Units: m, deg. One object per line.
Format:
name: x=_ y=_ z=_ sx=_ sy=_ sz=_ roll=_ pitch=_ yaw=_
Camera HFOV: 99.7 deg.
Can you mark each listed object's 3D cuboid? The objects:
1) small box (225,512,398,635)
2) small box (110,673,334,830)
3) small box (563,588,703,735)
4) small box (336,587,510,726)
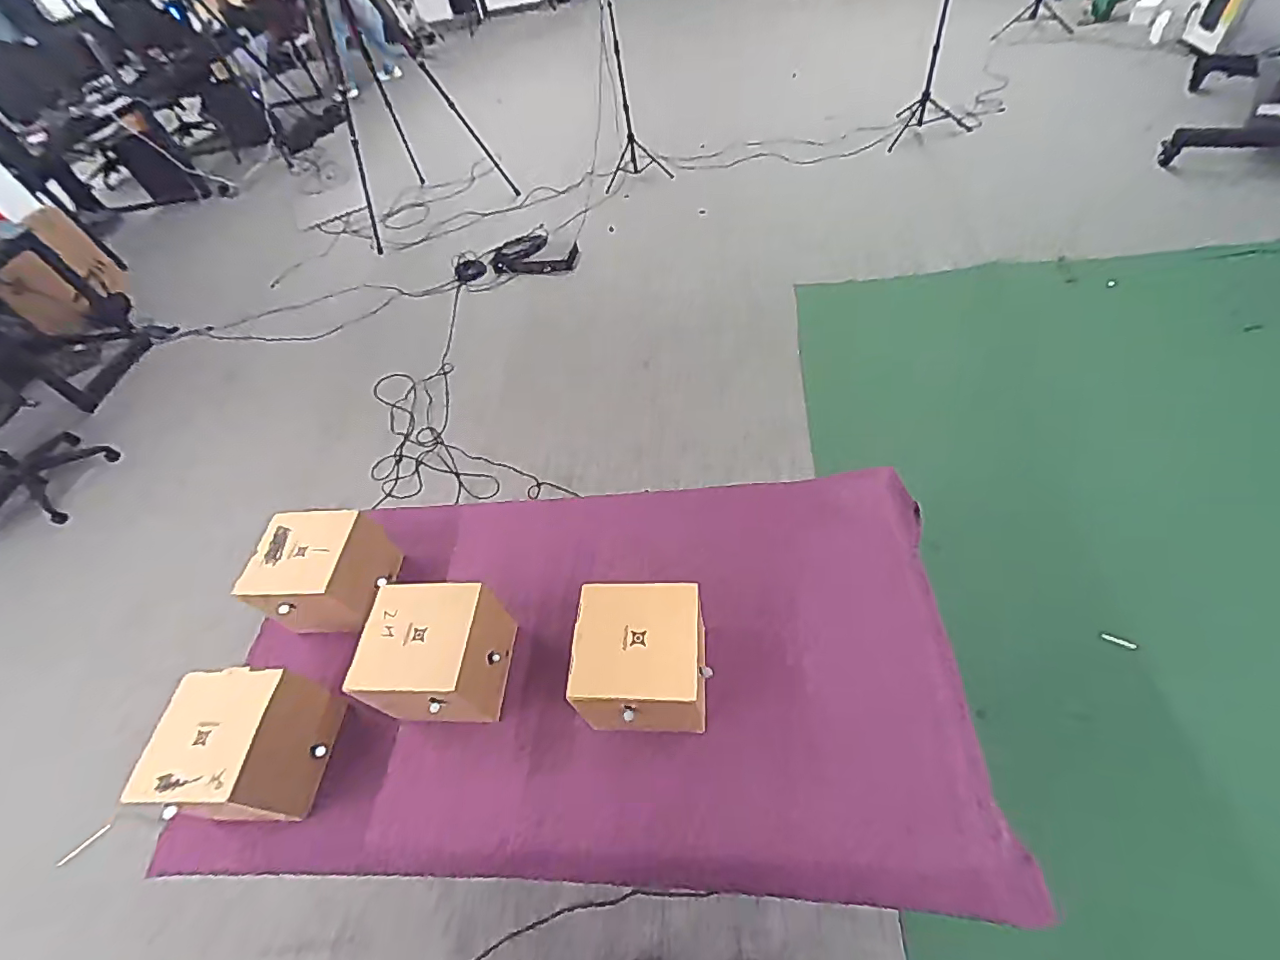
small box: x=-0.582 y=0.174 z=0.984 sx=0.179 sy=0.176 sz=0.168 roll=-2 pitch=53 yaw=8
small box: x=-0.598 y=0.405 z=0.807 sx=0.168 sy=0.176 sz=0.179 roll=-5 pitch=50 yaw=9
small box: x=0.002 y=0.270 z=0.799 sx=0.179 sy=0.176 sz=0.168 roll=-3 pitch=53 yaw=10
small box: x=-0.323 y=0.280 z=0.852 sx=0.179 sy=0.176 sz=0.168 roll=-3 pitch=52 yaw=9
